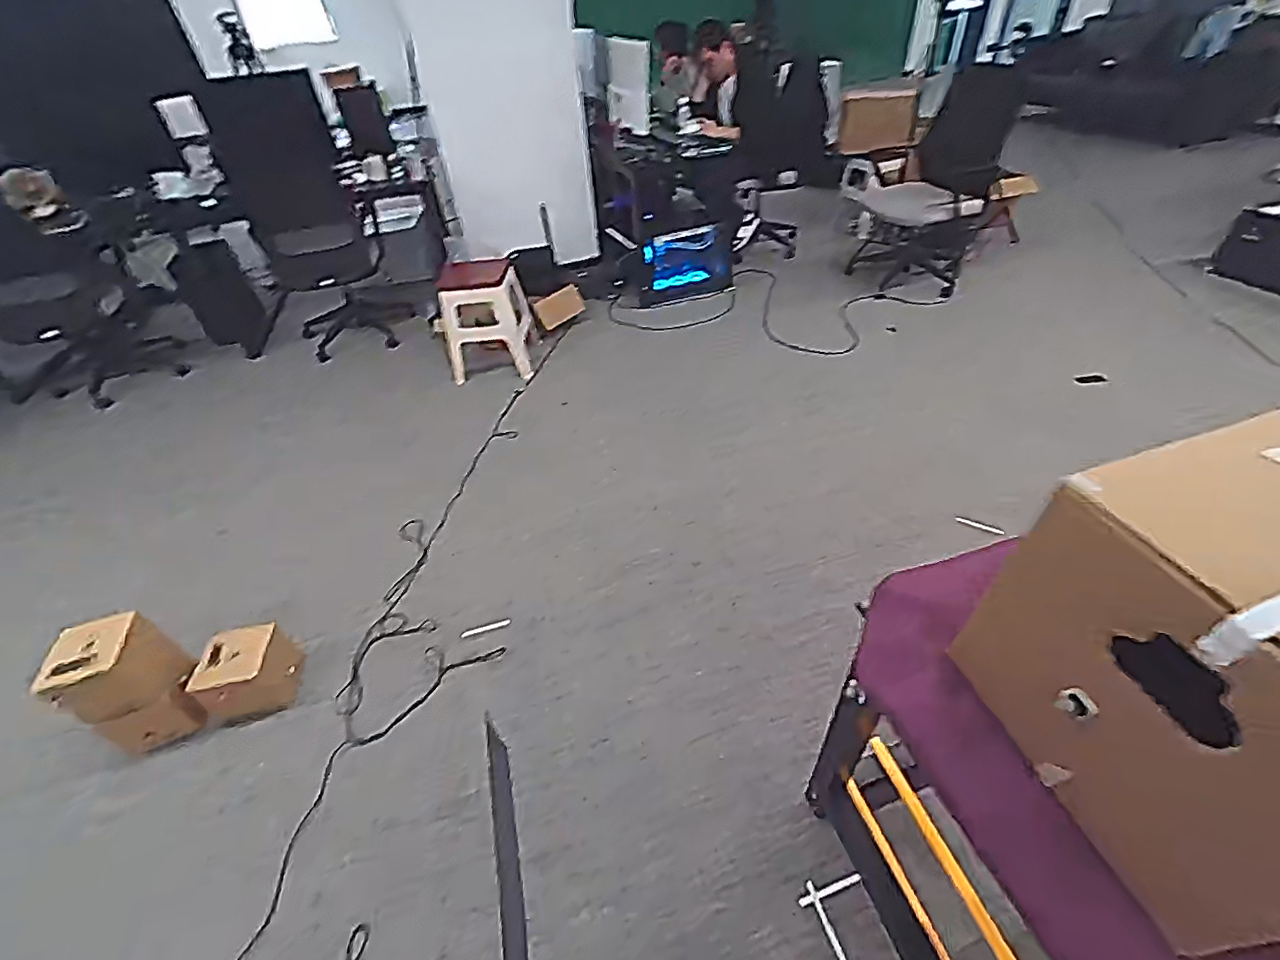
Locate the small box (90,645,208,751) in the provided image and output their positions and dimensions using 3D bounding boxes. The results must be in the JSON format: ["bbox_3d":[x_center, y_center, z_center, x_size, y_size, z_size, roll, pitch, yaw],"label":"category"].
[{"bbox_3d":[-1.289,0.582,1.444,0.168,0.176,0.179,-20,44,-14],"label":"small box"}]

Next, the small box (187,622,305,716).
[{"bbox_3d":[-1.066,0.521,1.480,0.179,0.176,0.168,-11,43,-5],"label":"small box"}]
